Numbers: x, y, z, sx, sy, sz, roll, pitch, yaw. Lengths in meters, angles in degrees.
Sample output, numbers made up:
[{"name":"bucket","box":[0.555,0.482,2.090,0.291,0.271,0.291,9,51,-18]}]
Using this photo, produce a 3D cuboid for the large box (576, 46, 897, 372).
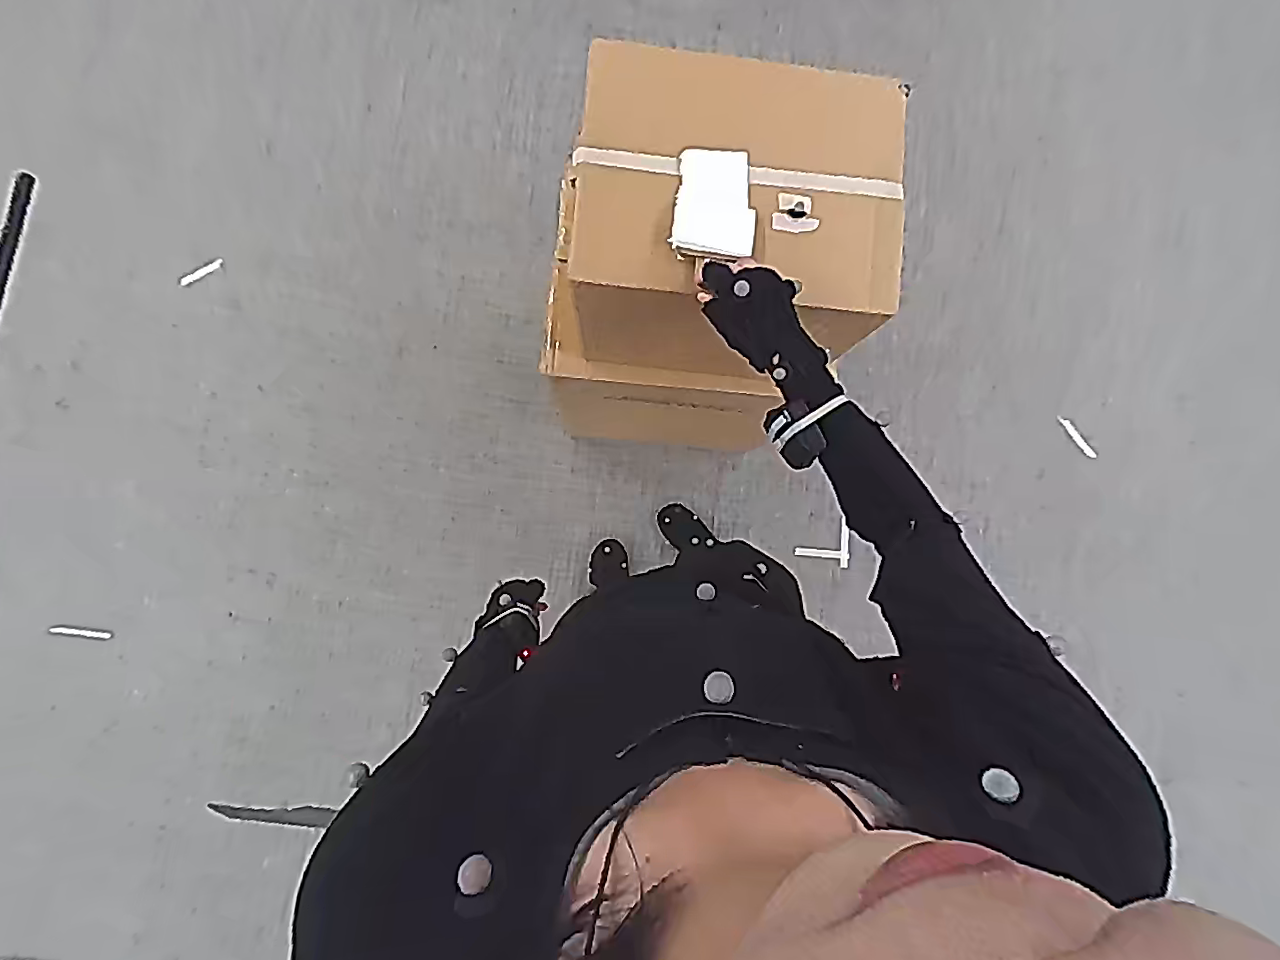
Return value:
[{"name":"large box","box":[0.116,-0.370,0.826,0.408,0.320,0.320,5,85,-4]}]
